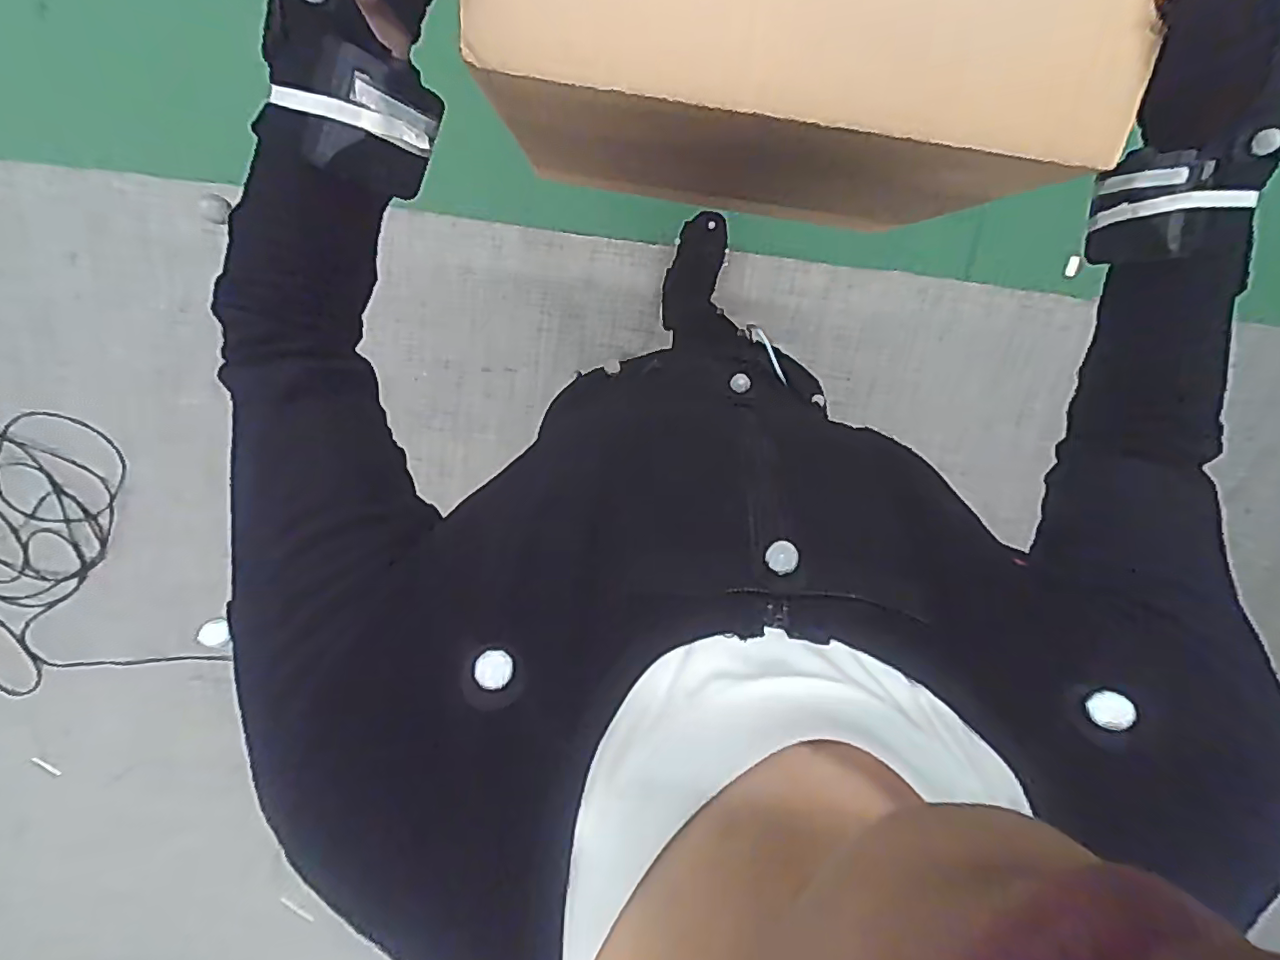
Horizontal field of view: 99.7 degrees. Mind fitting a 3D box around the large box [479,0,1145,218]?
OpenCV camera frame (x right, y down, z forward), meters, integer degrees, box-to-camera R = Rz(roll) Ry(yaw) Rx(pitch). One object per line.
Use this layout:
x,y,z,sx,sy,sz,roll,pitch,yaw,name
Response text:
0.107,-0.420,0.432,0.408,0.320,0.320,6,108,-4,large box
